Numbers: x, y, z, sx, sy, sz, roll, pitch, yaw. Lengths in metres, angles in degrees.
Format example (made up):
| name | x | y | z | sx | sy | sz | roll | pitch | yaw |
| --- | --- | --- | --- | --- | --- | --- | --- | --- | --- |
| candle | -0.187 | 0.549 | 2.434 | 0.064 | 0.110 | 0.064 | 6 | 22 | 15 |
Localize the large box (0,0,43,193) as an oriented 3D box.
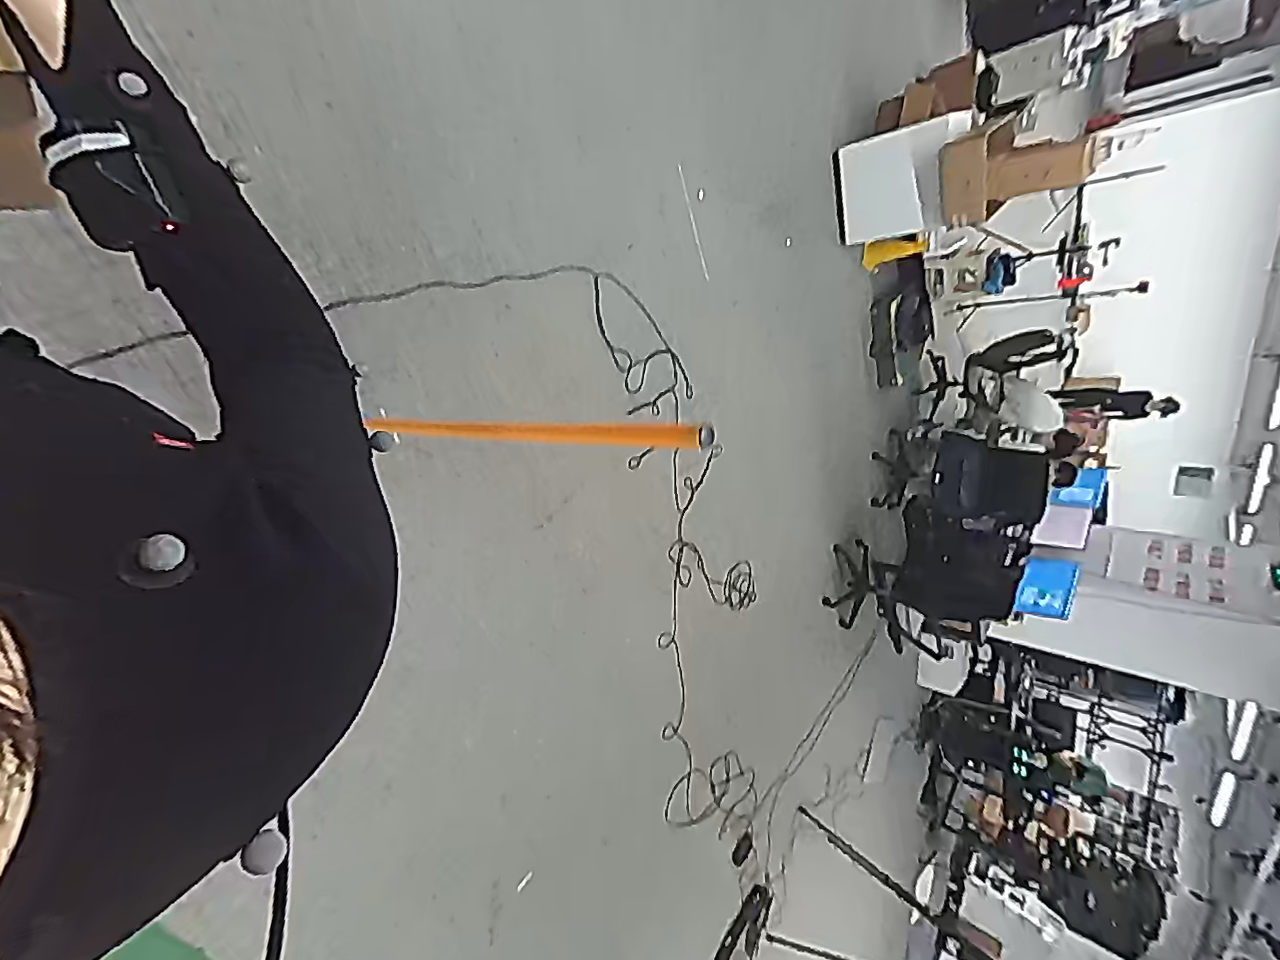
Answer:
| name | x | y | z | sx | sy | sz | roll | pitch | yaw |
| --- | --- | --- | --- | --- | --- | --- | --- | --- | --- |
| large box | -0.656 | -0.343 | 0.267 | 0.408 | 0.320 | 0.320 | -29 | 115 | -40 |
